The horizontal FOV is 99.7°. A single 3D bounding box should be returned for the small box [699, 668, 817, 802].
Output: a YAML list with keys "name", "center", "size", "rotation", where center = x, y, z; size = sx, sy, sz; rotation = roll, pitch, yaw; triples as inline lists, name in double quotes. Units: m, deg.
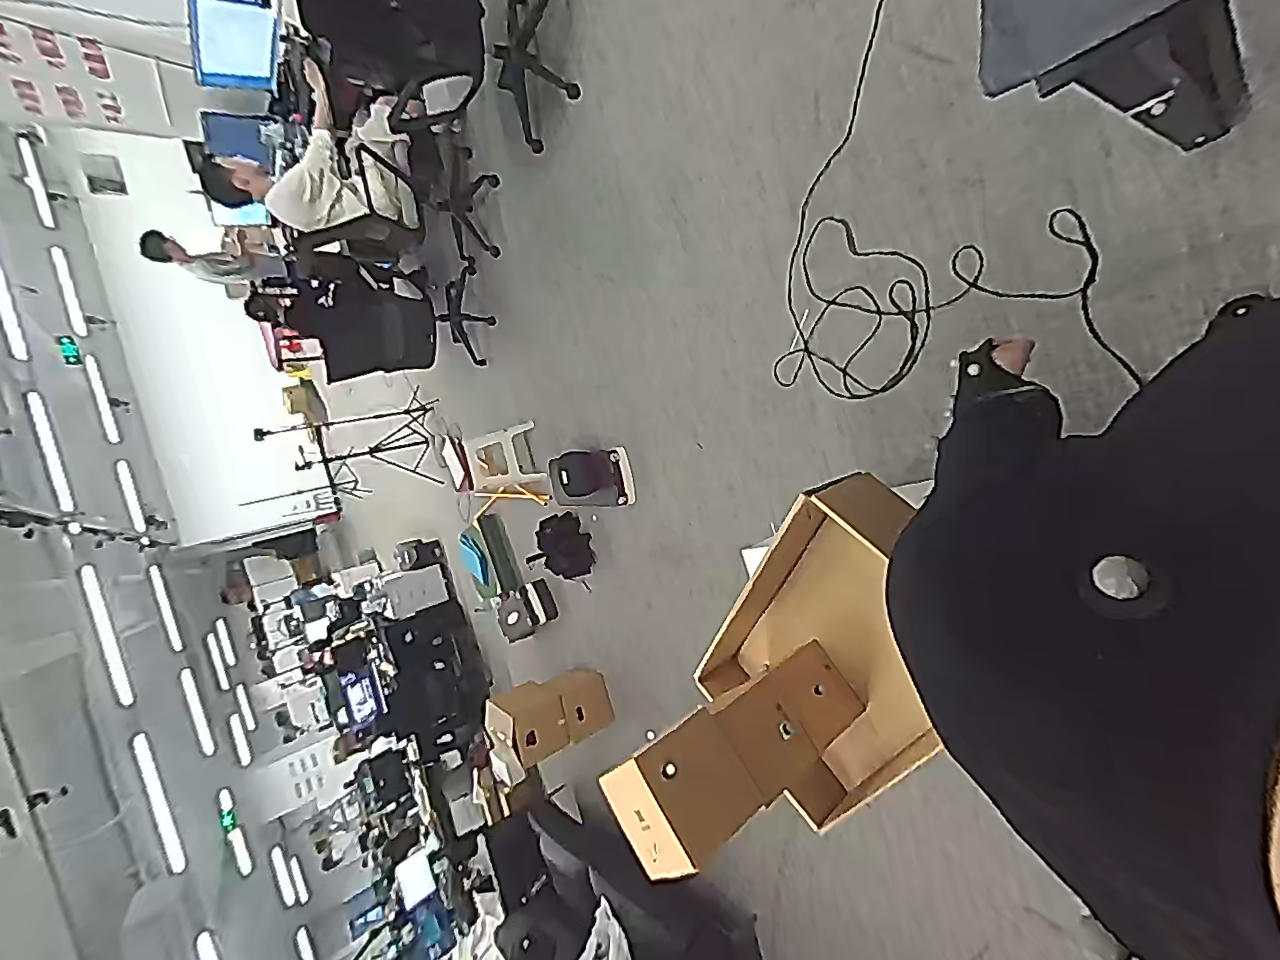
- name: "small box"
  center: [0.197, 0.487, 1.027]
  size: [0.168, 0.176, 0.179]
  rotation: [57, 139, 17]

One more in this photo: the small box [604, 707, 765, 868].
- name: "small box"
  center: [0.073, 0.512, 0.920]
  size: [0.179, 0.176, 0.168]
  rotation: [55, 140, 20]
